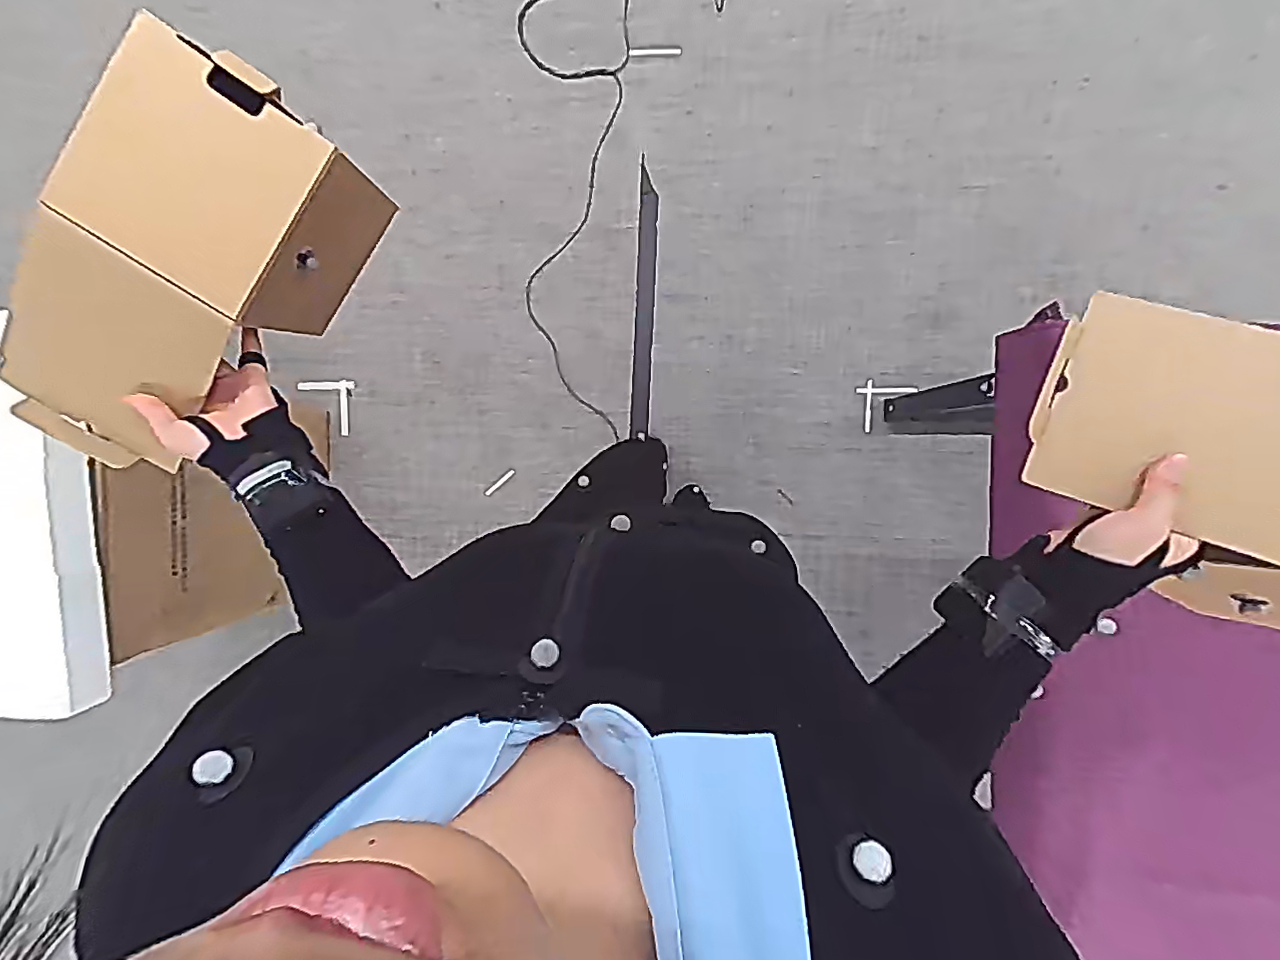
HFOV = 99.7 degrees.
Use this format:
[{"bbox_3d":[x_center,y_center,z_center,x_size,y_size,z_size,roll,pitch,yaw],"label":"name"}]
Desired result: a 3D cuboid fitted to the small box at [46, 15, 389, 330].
[{"bbox_3d":[-0.375,-0.264,0.521,0.168,0.176,0.179,34,94,-12],"label":"small box"}]
